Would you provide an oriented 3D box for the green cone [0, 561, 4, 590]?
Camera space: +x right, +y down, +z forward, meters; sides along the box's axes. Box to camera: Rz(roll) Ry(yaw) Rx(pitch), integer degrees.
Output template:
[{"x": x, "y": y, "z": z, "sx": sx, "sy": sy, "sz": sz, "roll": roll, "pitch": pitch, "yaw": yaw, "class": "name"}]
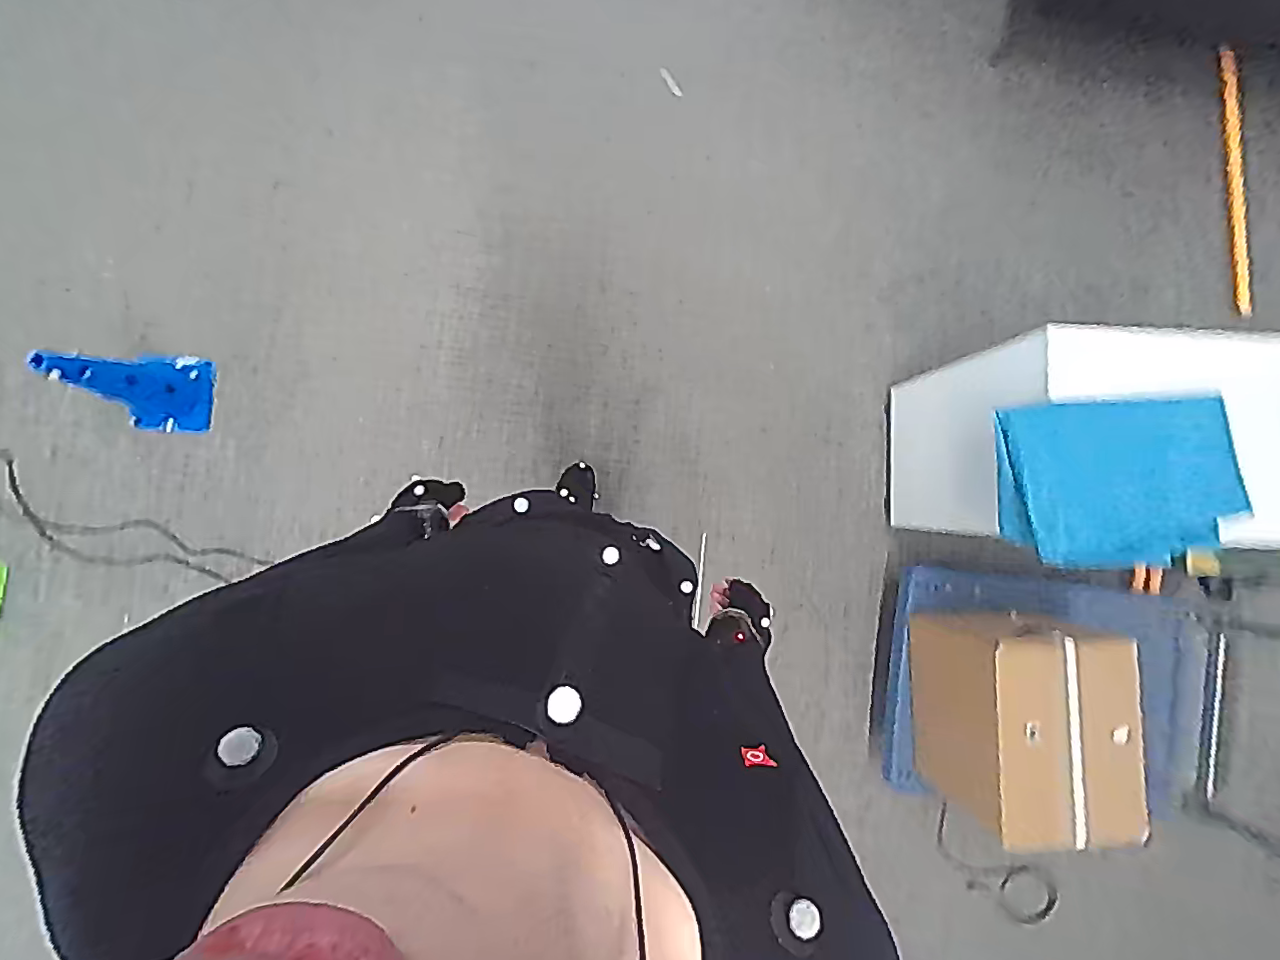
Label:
[{"x": -1.731, "y": 0.286, "z": 1.209, "sx": 0.202, "sy": 0.368, "sz": 0.200, "roll": 9, "pitch": 88, "yaw": -5, "class": "green cone"}]
